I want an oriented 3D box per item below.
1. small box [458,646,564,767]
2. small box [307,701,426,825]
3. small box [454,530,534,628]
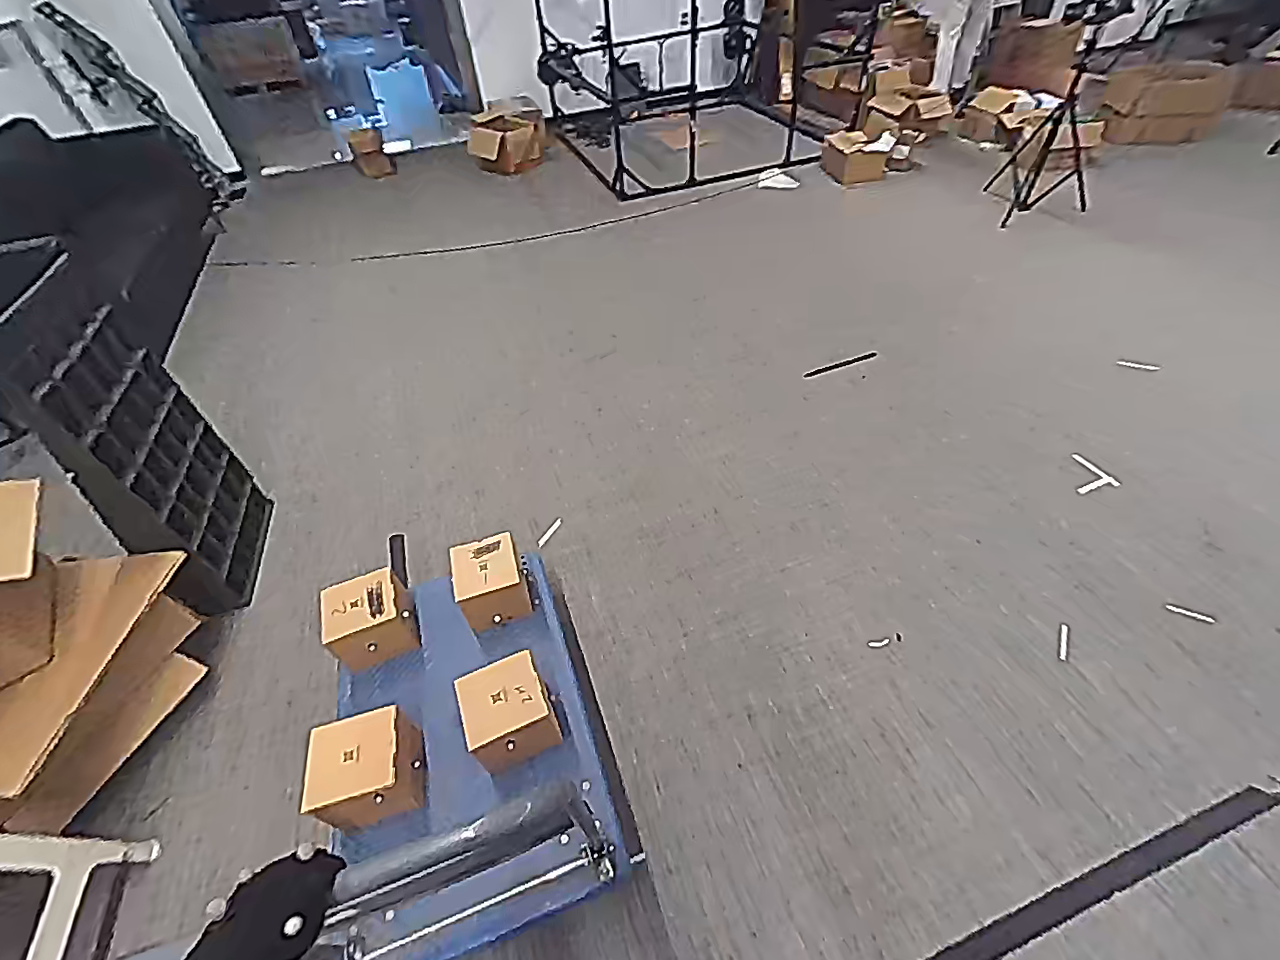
[{"bbox_3d":[-0.288,0.516,1.224,0.179,0.176,0.168,-20,49,-14],"label":"small box"},{"bbox_3d":[-0.576,0.611,1.161,0.179,0.176,0.168,-14,46,-10],"label":"small box"},{"bbox_3d":[-0.395,0.269,1.468,0.168,0.176,0.179,-16,48,-10],"label":"small box"}]
